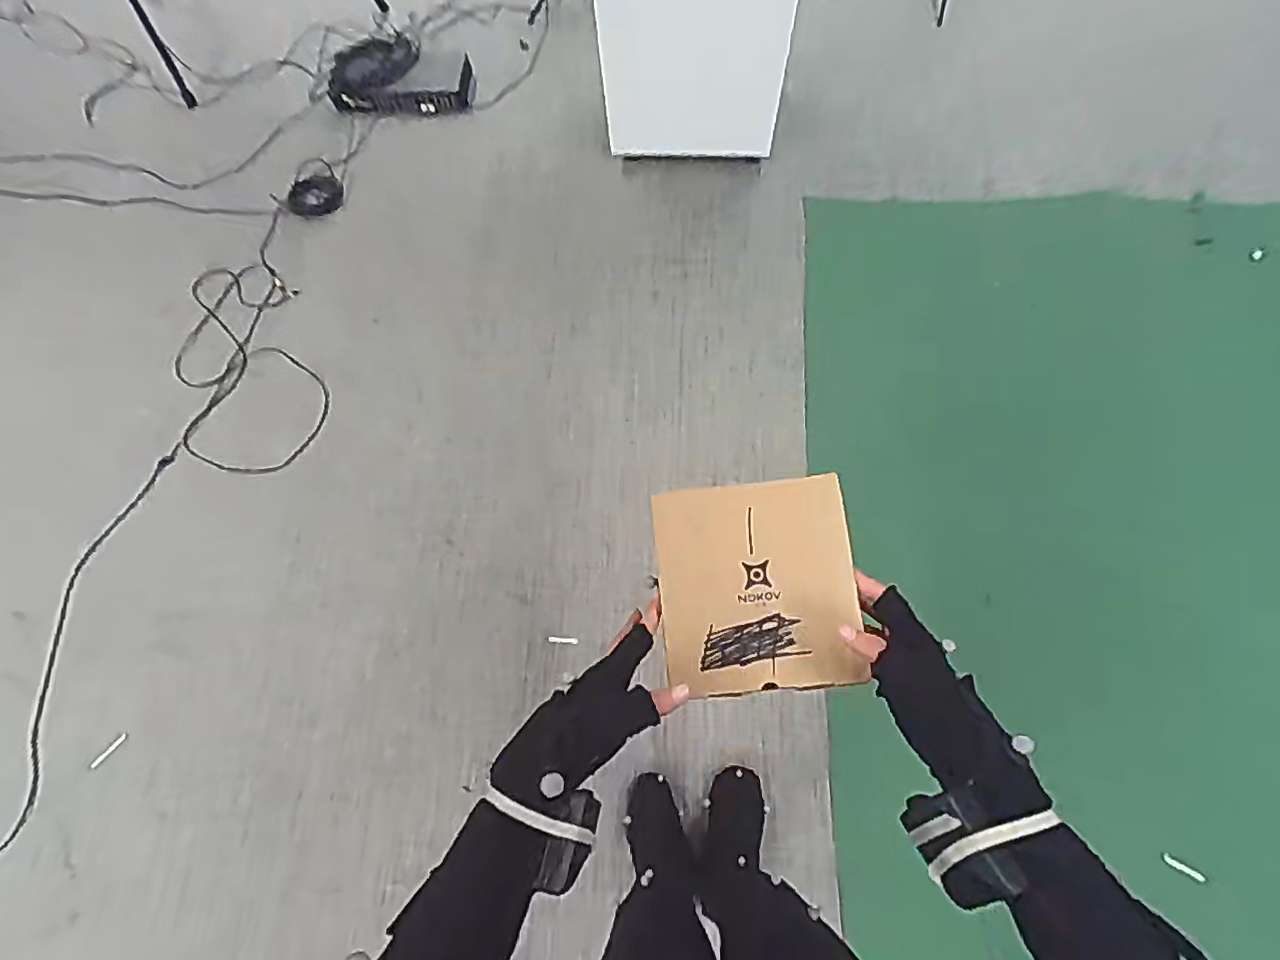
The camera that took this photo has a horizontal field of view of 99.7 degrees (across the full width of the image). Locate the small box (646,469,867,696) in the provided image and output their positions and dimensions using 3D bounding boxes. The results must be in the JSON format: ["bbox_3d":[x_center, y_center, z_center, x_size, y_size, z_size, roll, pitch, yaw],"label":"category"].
[{"bbox_3d":[0.097,0.093,0.521,0.168,0.176,0.179,-5,81,2],"label":"small box"}]
